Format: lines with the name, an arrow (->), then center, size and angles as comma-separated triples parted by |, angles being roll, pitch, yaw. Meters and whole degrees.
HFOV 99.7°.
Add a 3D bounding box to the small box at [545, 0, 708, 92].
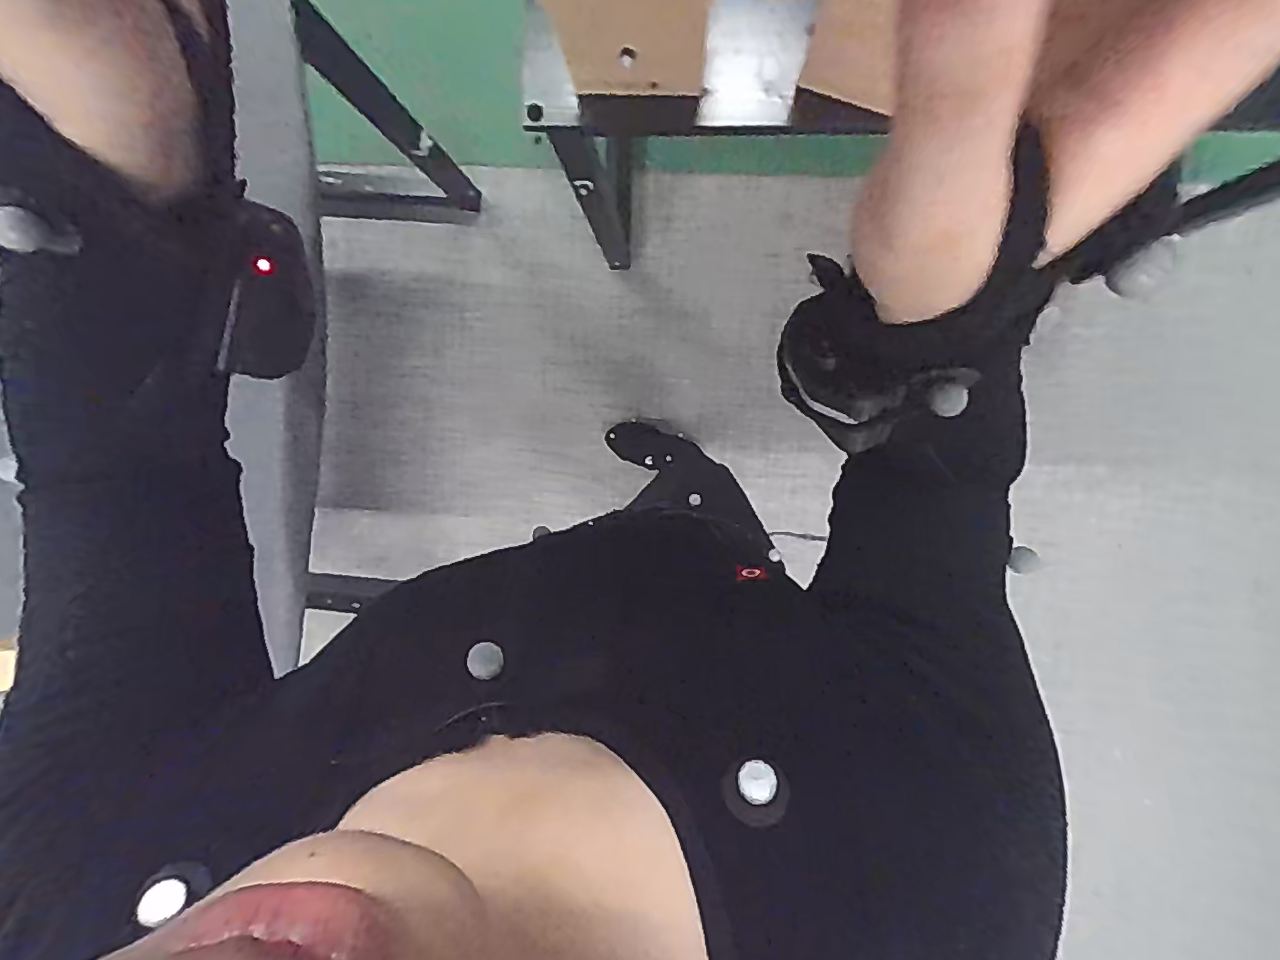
small box -> -0.005, -0.568, 0.600 | 0.168, 0.176, 0.179 | 3, 96, 3
